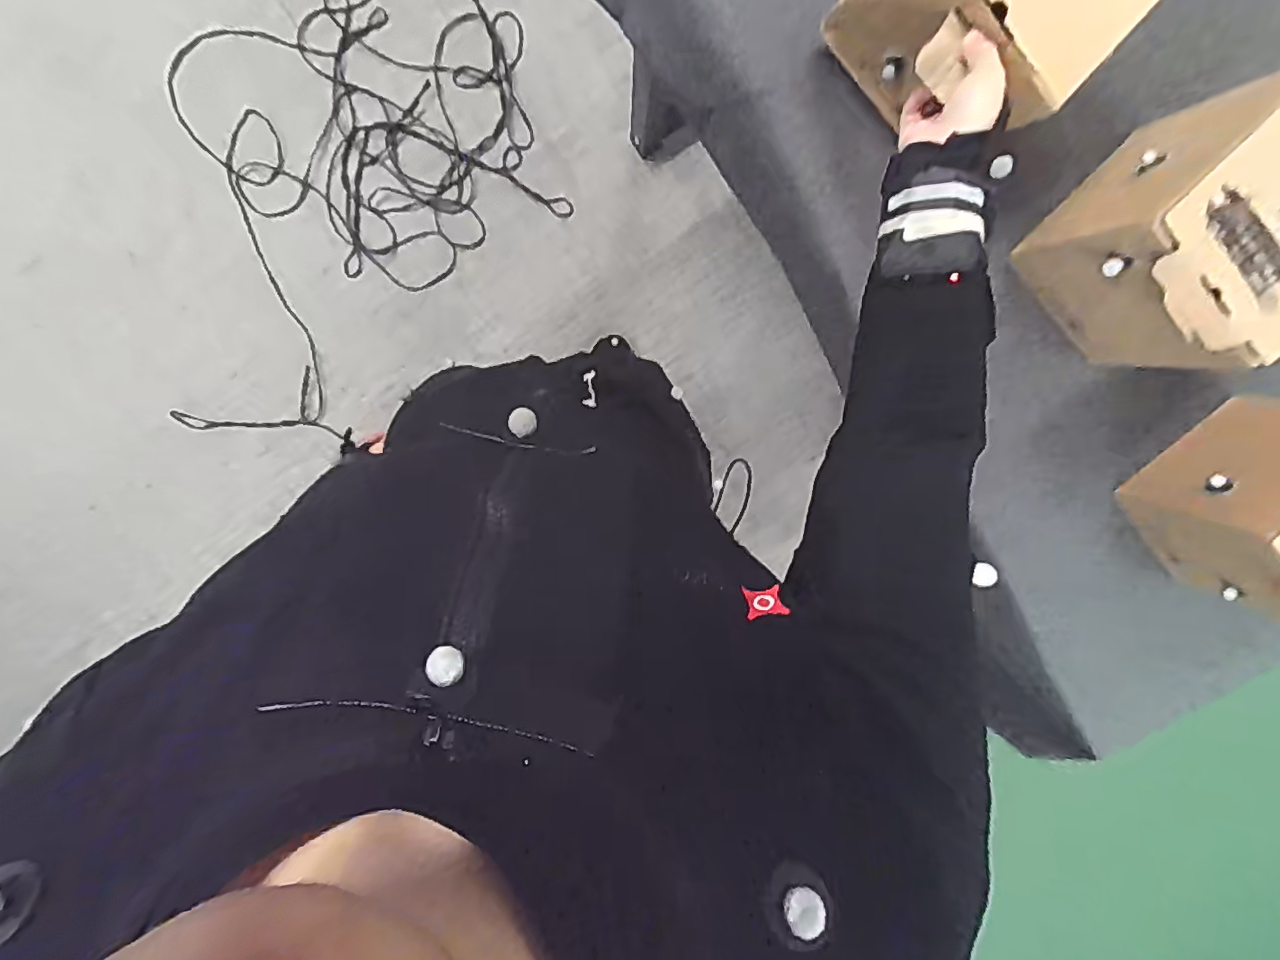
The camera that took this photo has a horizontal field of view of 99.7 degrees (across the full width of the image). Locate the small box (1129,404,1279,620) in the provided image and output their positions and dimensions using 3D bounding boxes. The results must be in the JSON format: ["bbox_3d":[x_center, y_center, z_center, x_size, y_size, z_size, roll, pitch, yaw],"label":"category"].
[{"bbox_3d":[0.688,0.038,0.580,0.179,0.176,0.168,-44,102,6],"label":"small box"}]

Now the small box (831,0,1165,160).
[{"bbox_3d":[0.294,-0.406,0.438,0.168,0.176,0.179,39,100,-17],"label":"small box"}]
